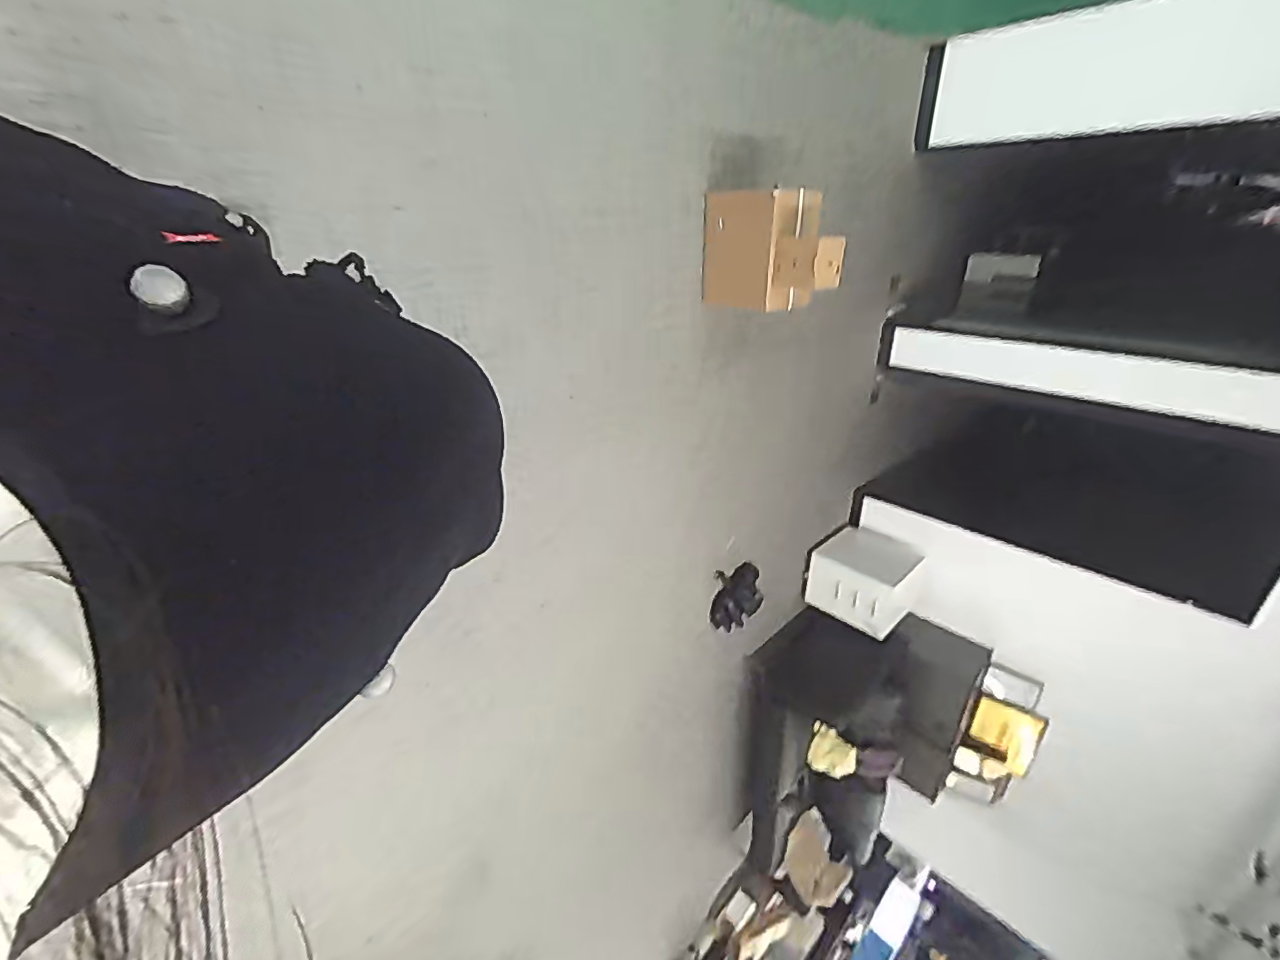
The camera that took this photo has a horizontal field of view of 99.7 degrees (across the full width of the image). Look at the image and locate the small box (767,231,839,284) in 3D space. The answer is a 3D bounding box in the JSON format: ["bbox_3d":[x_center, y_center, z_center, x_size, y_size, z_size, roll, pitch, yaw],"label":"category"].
[{"bbox_3d":[0.570,-0.785,1.907,0.179,0.176,0.168,-21,123,-38],"label":"small box"}]
